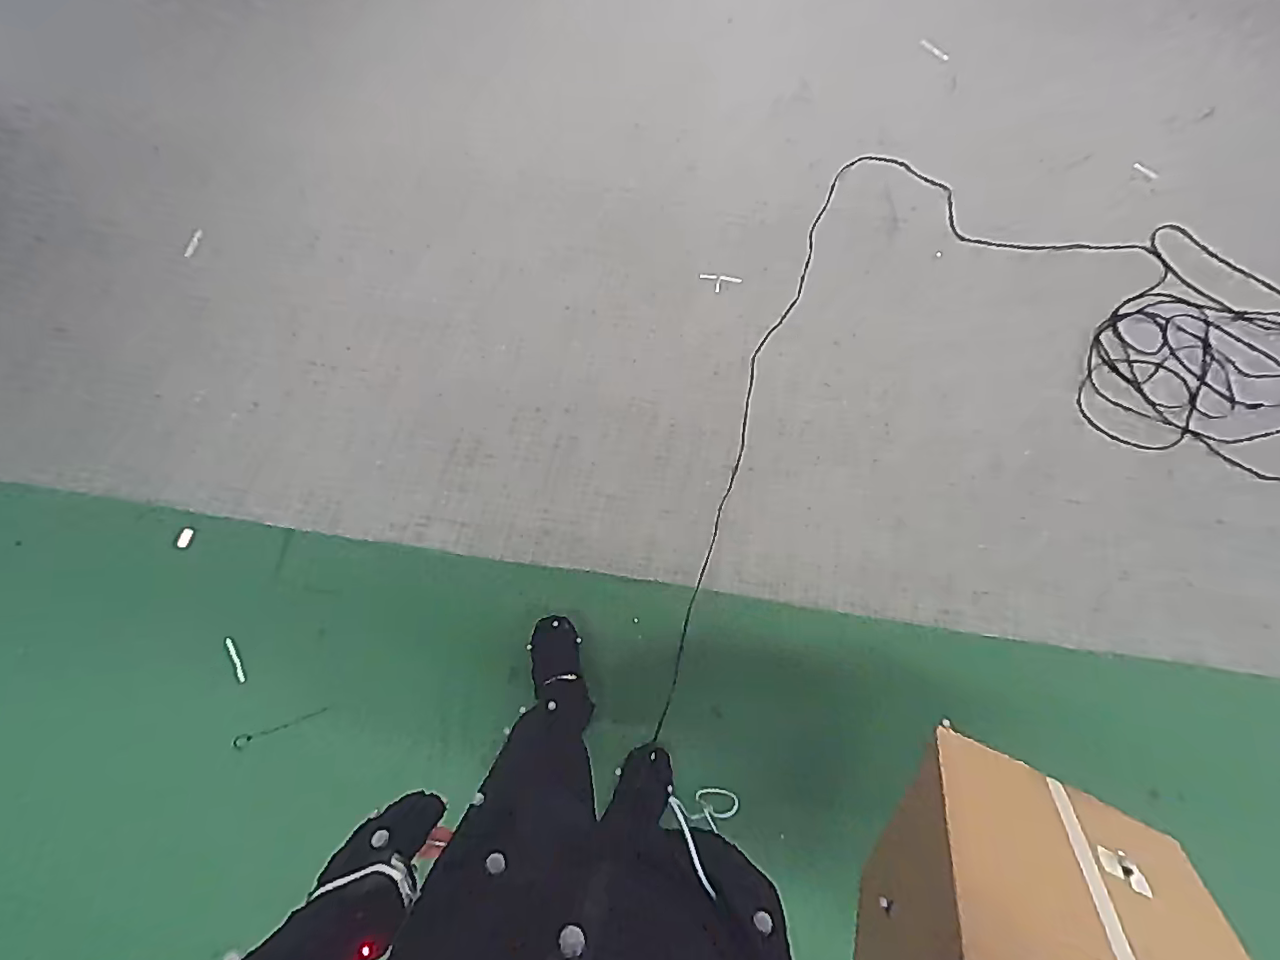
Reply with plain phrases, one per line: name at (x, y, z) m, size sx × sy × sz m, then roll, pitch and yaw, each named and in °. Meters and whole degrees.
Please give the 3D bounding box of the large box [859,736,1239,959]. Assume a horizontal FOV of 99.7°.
large box at (0.467, 0.614, 0.647) m, size 0.320 × 0.408 × 0.320 m, roll 23°, pitch 106°, yaw 20°
